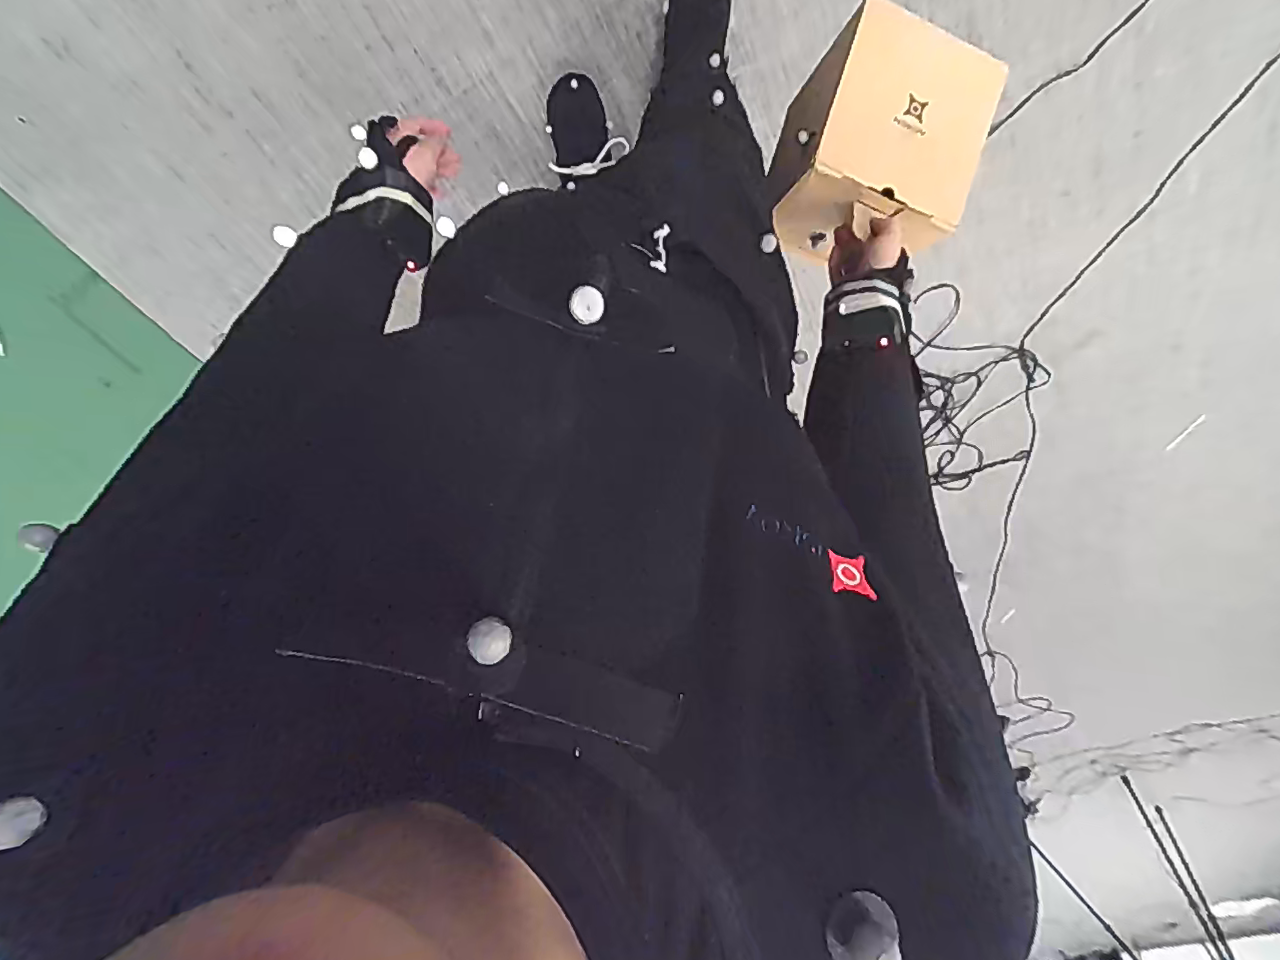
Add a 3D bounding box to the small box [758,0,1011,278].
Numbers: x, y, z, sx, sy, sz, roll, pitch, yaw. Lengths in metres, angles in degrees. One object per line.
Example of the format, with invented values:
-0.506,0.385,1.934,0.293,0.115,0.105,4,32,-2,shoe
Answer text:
0.251,-0.355,0.595,0.168,0.176,0.179,18,89,-11,small box
